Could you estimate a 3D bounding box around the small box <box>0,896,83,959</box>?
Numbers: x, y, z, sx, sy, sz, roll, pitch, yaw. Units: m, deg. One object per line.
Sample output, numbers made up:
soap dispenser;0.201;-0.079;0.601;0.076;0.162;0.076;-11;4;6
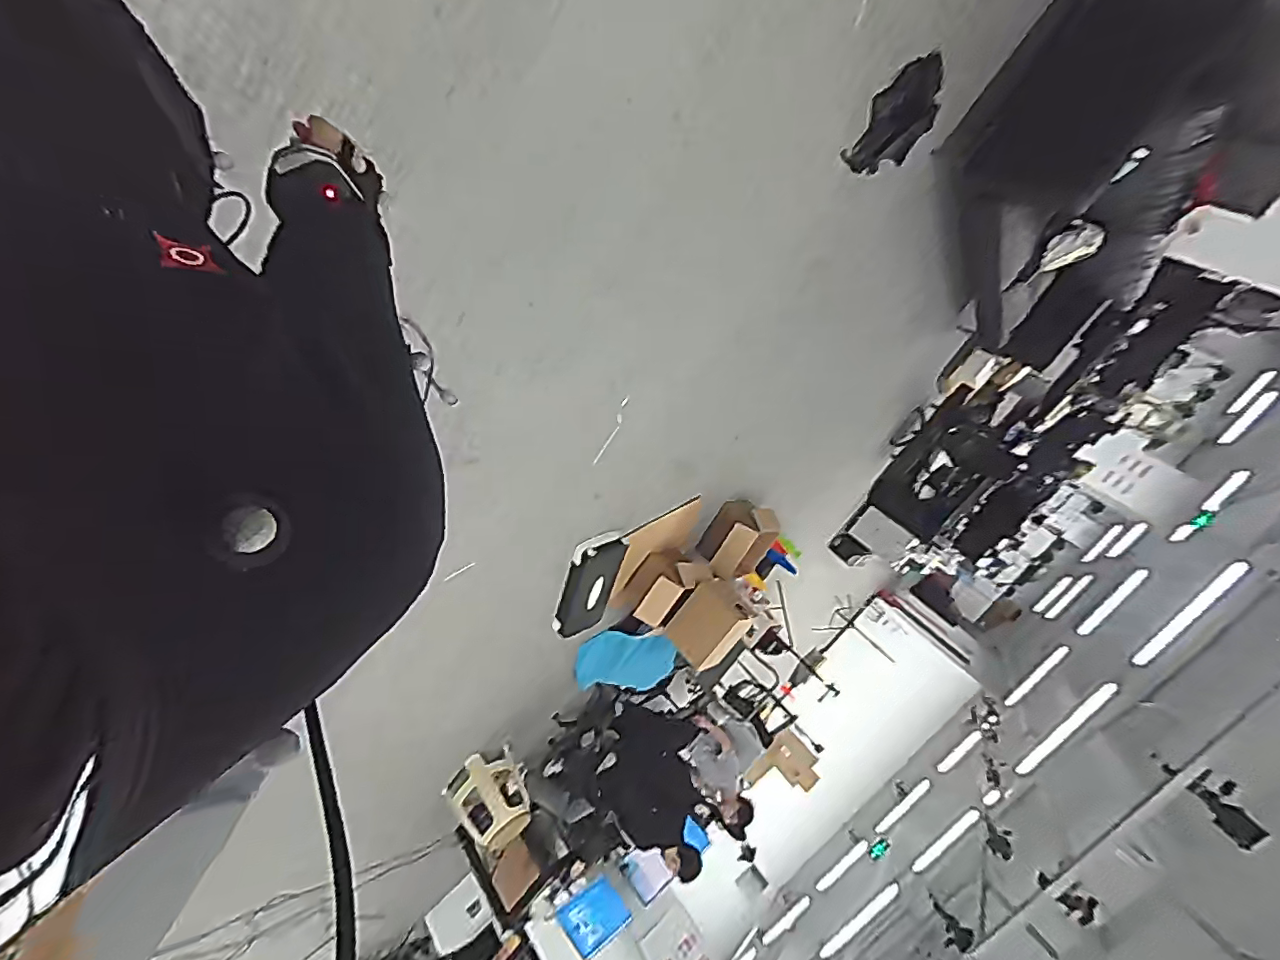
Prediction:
small box;-0.936;0.760;0.778;0.168;0.176;0.179;9;119;-54
